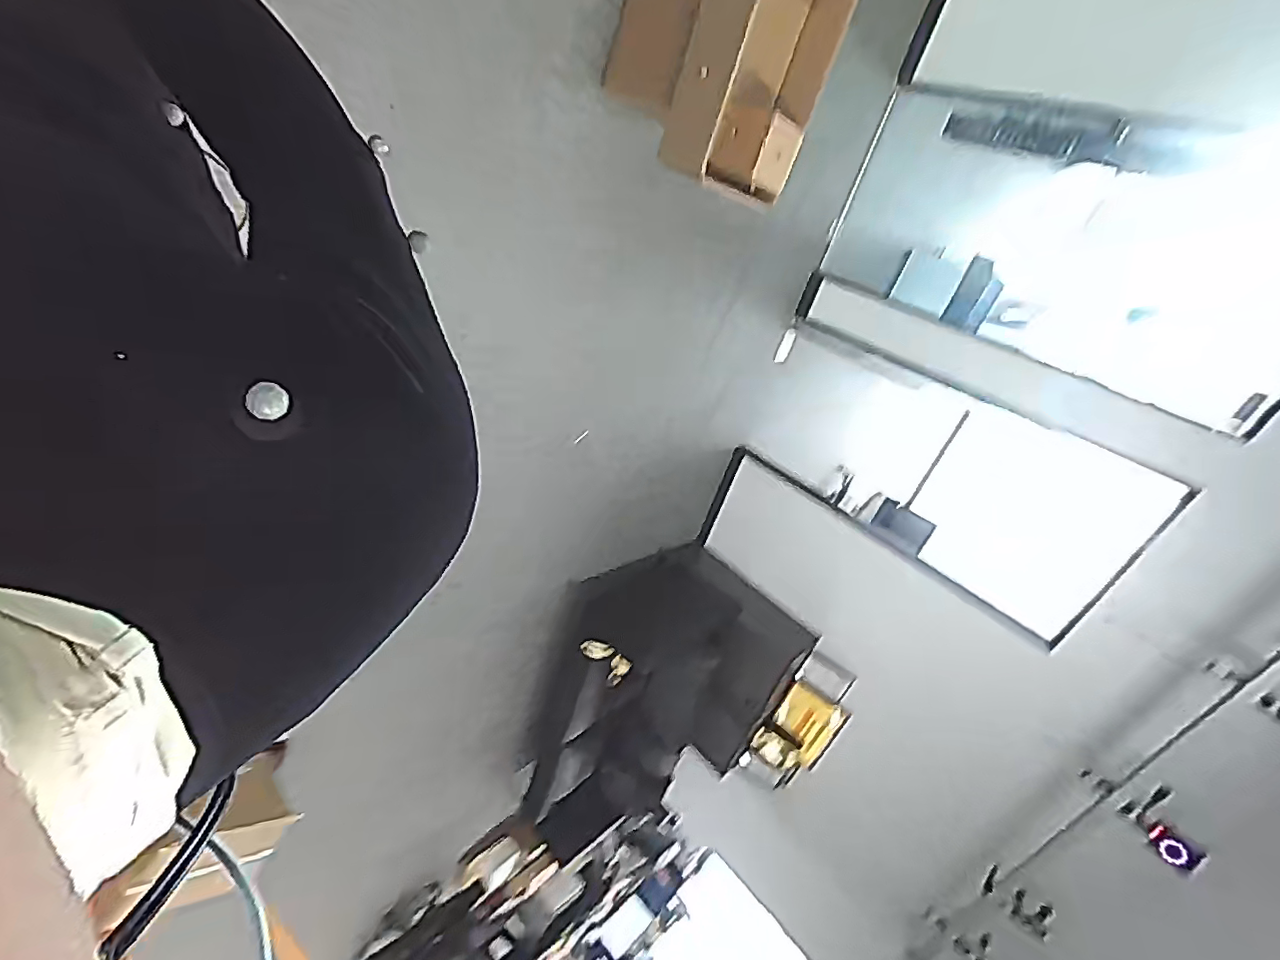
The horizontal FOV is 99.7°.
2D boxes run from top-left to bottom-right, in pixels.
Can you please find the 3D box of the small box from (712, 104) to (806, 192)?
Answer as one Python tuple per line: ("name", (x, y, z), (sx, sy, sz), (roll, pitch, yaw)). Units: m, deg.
("small box", (0.347, -0.977, 1.591), (0.179, 0.176, 0.168), (-10, 129, -46))
